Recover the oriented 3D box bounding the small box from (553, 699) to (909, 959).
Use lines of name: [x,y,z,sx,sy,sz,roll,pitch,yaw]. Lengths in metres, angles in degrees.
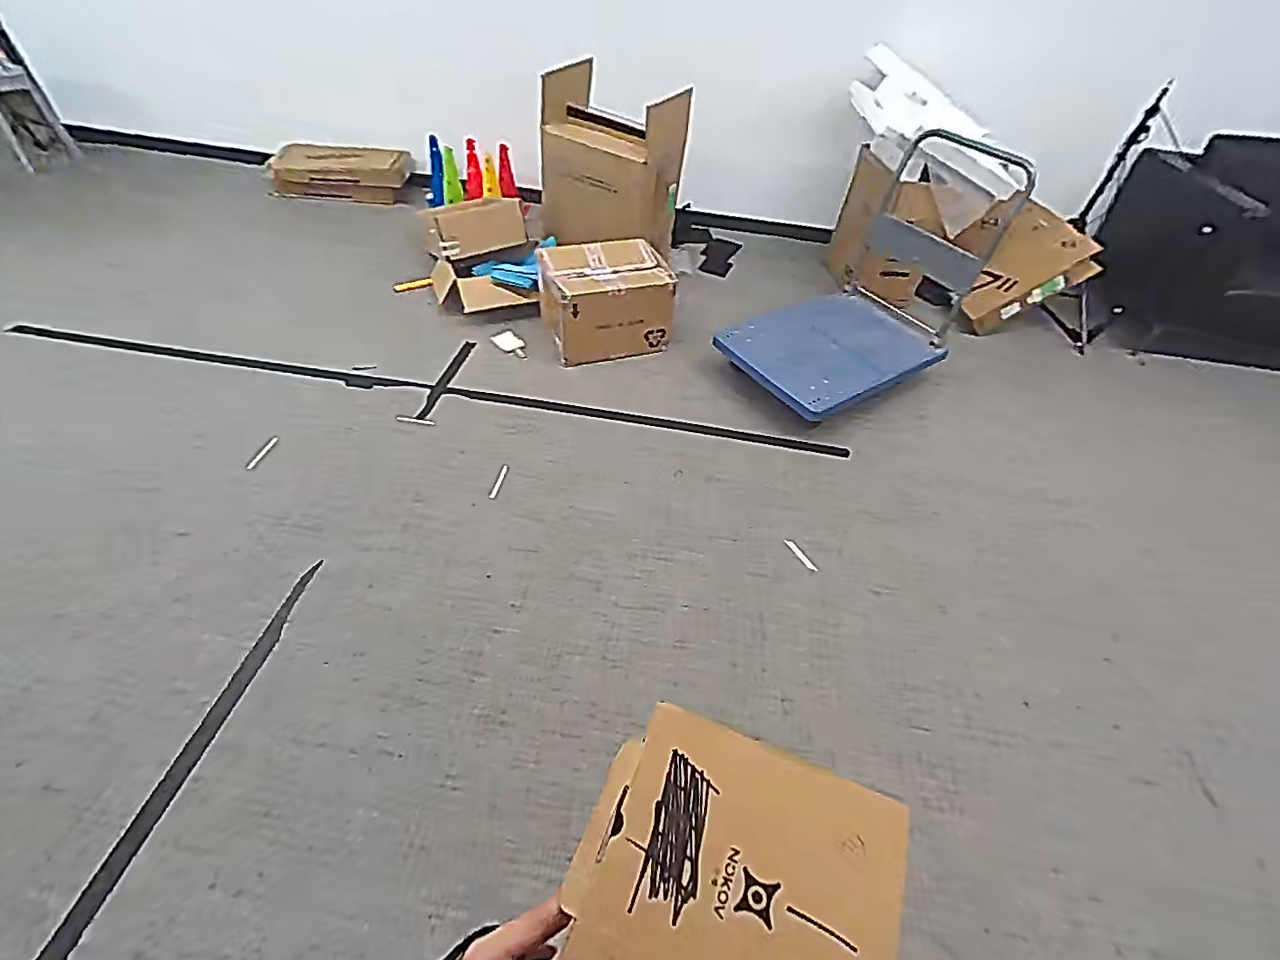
small box: [0.062,0.288,0.380,0.179,0.176,0.168,18,54,14]
